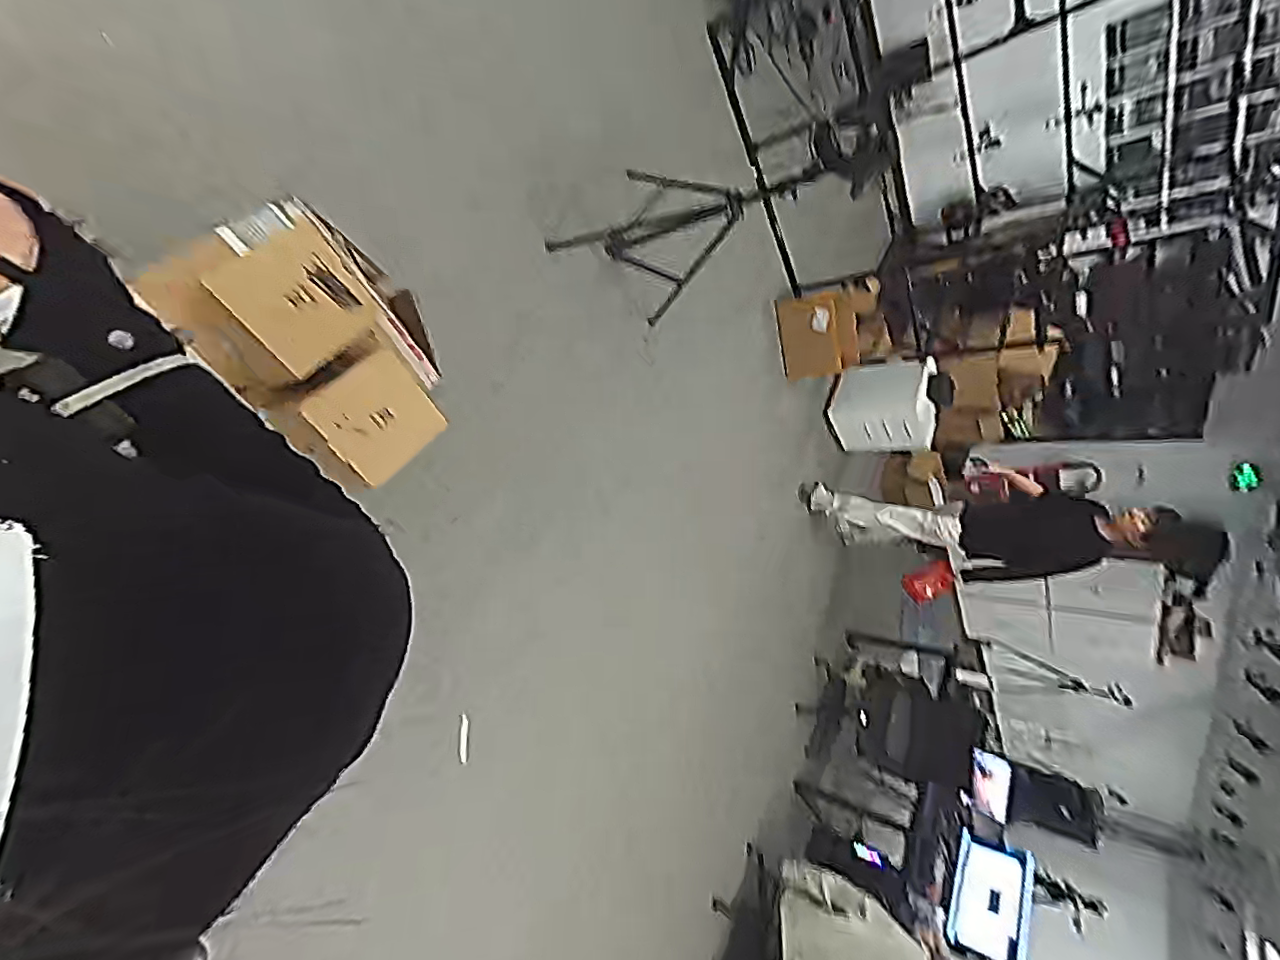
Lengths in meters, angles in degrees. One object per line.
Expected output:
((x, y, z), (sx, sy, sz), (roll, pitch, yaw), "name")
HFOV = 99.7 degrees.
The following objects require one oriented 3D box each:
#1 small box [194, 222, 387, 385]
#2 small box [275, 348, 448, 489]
((-0.545, -0.267, 0.843), (0.179, 0.176, 0.168), (-53, 127, -29), "small box")
((-0.478, -0.106, 0.928), (0.179, 0.176, 0.168), (-52, 129, -31), "small box")
